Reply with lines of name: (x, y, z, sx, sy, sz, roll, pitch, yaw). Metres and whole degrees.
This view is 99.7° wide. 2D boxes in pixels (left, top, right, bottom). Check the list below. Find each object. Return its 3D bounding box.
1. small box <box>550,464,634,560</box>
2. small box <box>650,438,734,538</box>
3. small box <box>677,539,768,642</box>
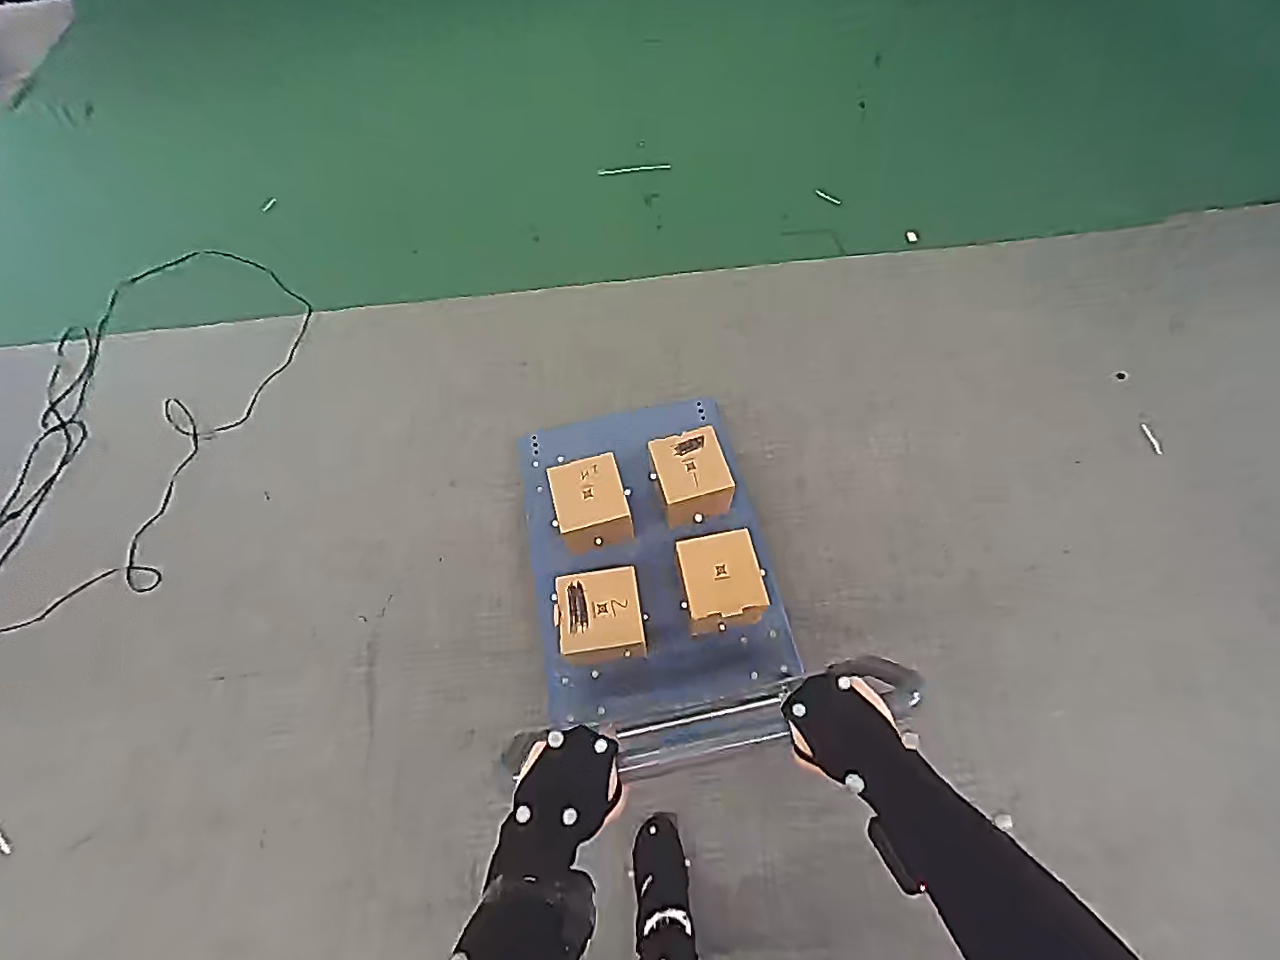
small box: (-0.116, 0.089, 1.351, 0.168, 0.176, 0.179, -14, 63, -5)
small box: (0.126, 0.023, 1.370, 0.168, 0.176, 0.179, -15, 63, -3)
small box: (0.180, 0.257, 1.246, 0.168, 0.176, 0.179, -11, 63, -2)
